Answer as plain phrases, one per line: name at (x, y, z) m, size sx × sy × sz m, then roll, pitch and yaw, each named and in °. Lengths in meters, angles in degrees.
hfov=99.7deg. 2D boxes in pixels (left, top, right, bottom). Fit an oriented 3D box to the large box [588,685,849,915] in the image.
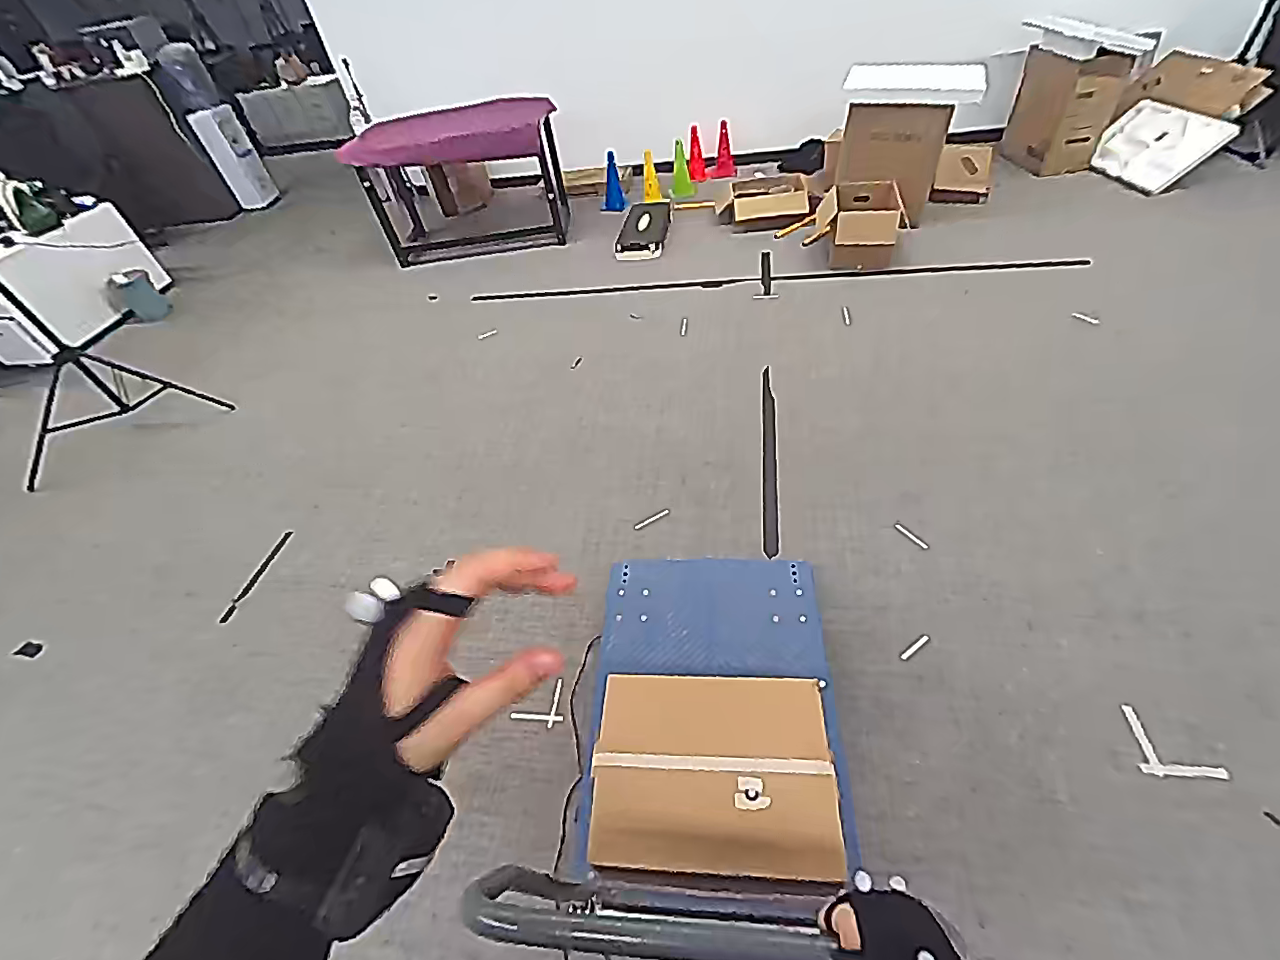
large box at (0.138, 0.605, 1.026) m, size 0.408 × 0.320 × 0.320 m, roll -2°, pitch 47°, yaw 8°
